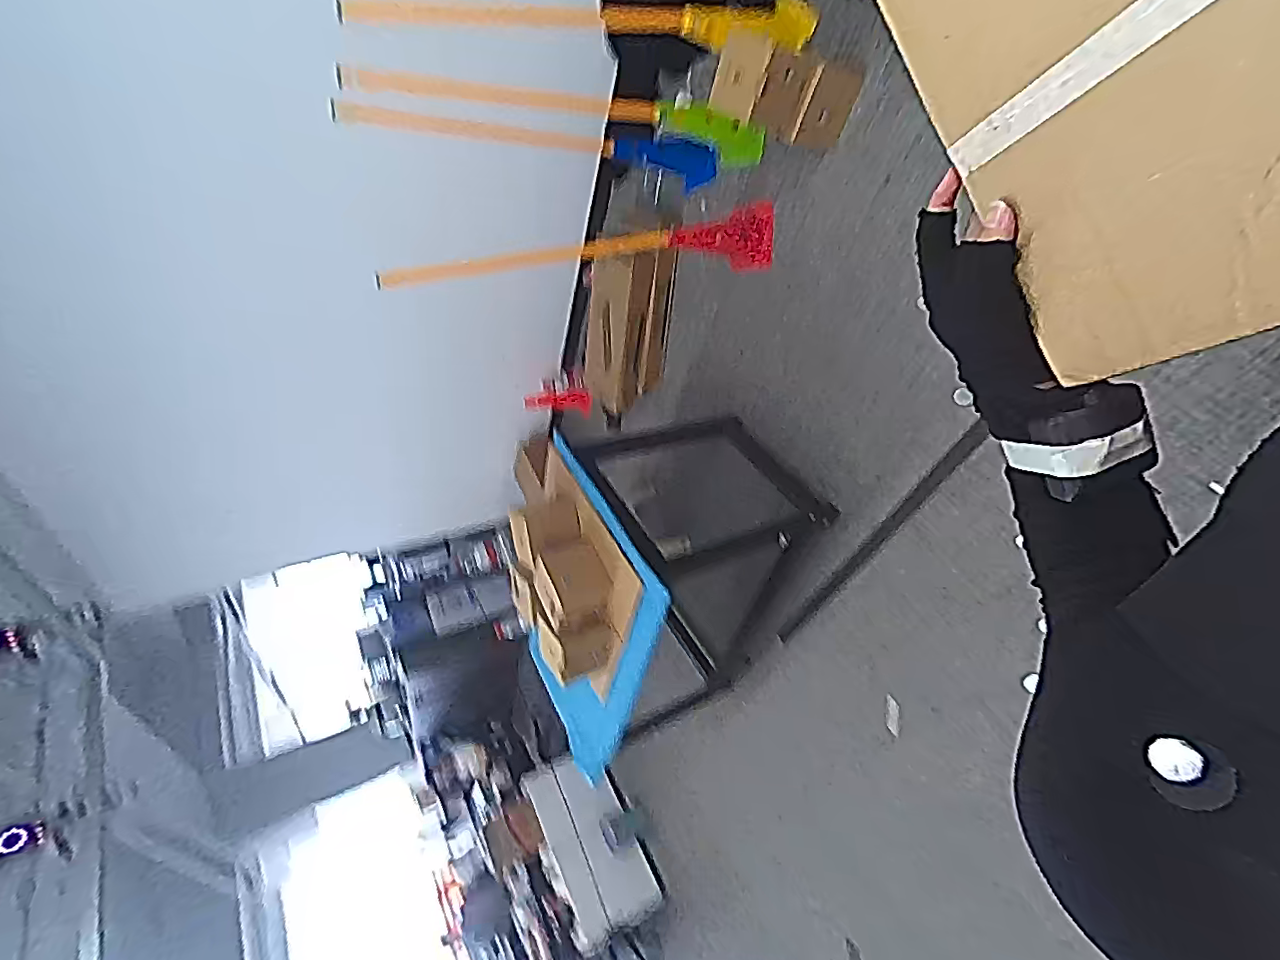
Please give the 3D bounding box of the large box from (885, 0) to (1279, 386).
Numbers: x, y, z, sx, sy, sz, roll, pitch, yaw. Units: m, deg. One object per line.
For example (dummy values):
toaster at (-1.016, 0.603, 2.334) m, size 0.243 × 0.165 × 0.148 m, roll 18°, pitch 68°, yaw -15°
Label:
large box at (0.409, -0.292, 0.234) m, size 0.408 × 0.320 × 0.320 m, roll -23°, pitch 92°, yaw 62°
